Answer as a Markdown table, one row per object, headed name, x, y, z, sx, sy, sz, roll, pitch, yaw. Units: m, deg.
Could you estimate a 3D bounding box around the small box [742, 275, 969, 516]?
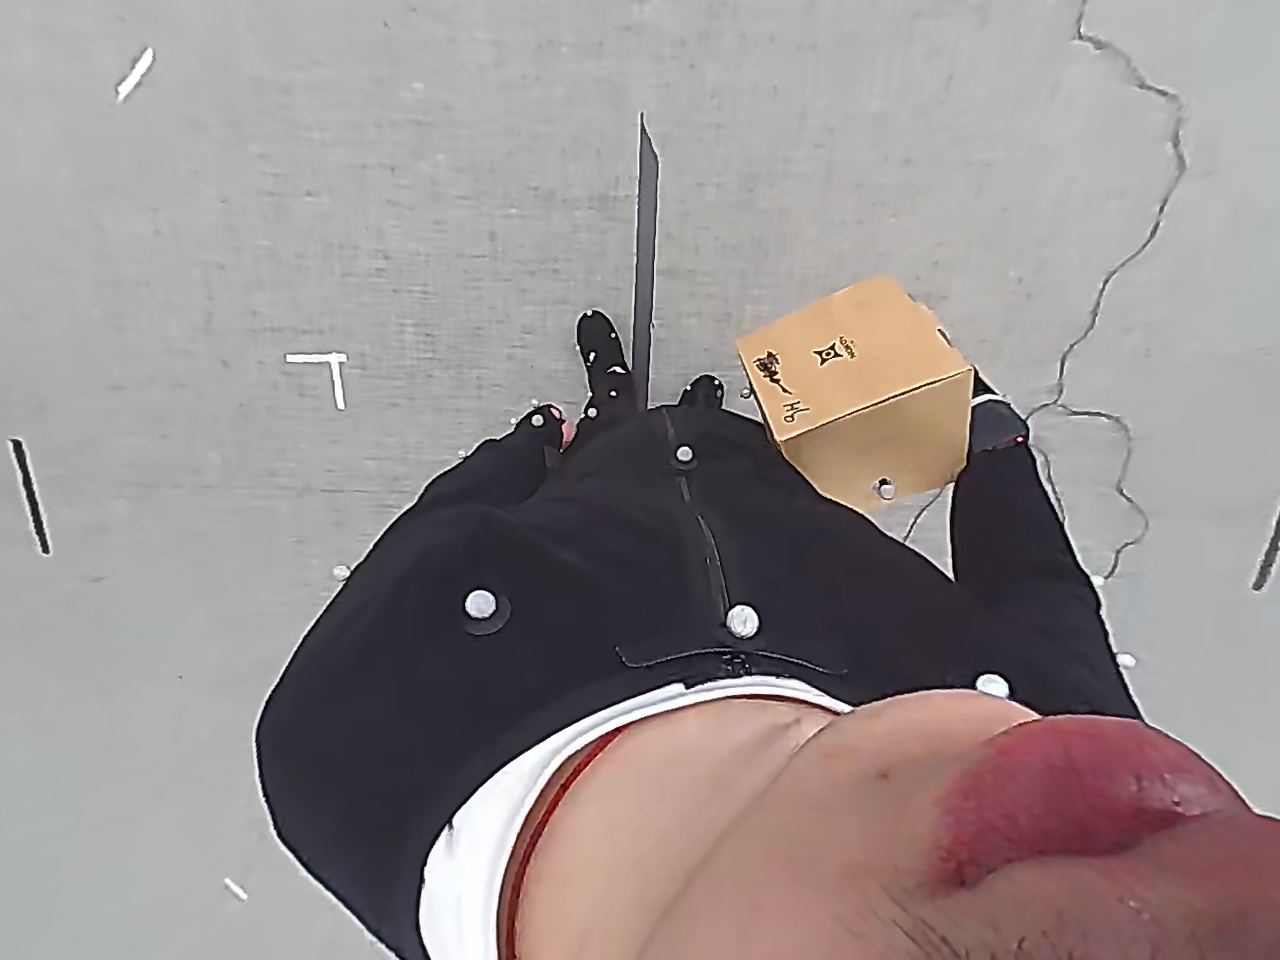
| name | x | y | z | sx | sy | sz | roll | pitch | yaw |
| --- | --- | --- | --- | --- | --- | --- | --- | --- | --- |
| small box | 0.233 | -0.087 | 0.607 | 0.179 | 0.168 | 0.176 | -20 | 138 | 12 |
